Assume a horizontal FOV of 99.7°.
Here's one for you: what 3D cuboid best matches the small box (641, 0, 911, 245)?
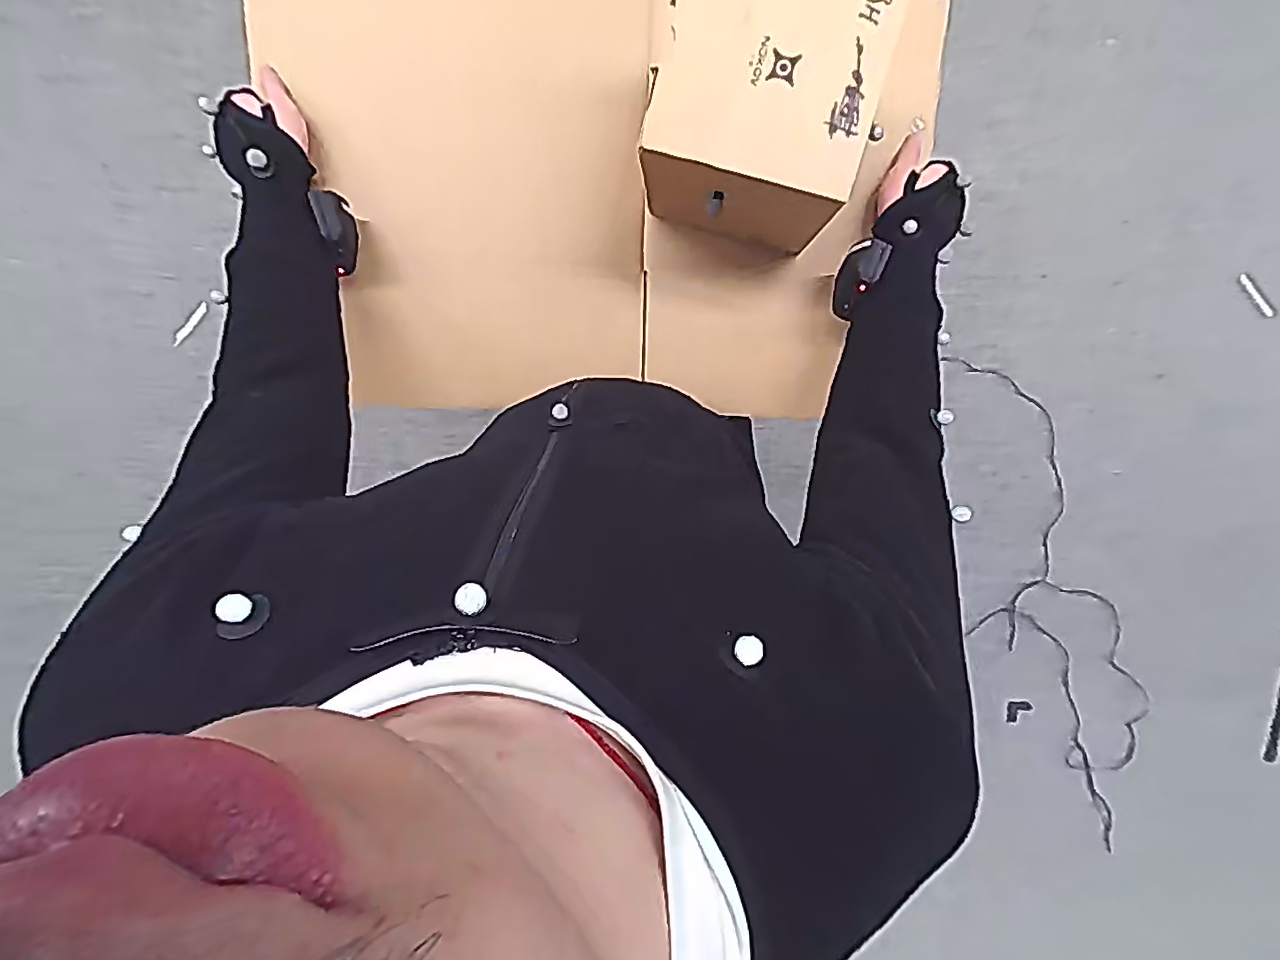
[{"bbox_3d":[0.112,-0.339,0.503,0.179,0.176,0.168,16,100,2],"label":"small box"}]
